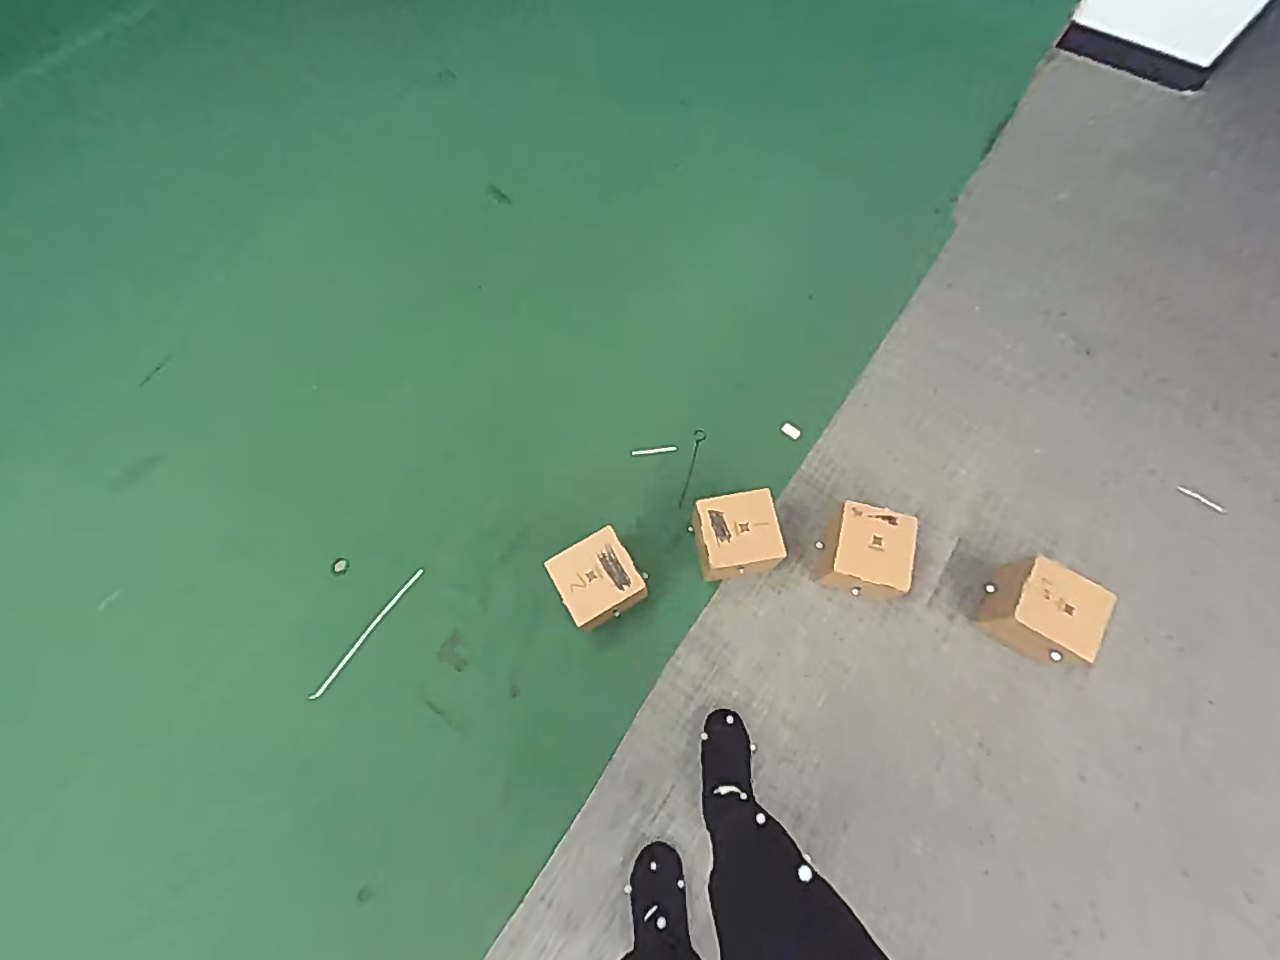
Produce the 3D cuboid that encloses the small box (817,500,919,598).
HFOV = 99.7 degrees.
[{"bbox_3d":[0.529,0.170,1.277,0.168,0.176,0.179,15,73,7],"label":"small box"}]

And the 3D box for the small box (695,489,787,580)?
[{"bbox_3d":[0.232,0.136,1.299,0.179,0.176,0.168,-9,71,-3],"label":"small box"}]

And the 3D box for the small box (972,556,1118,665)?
[{"bbox_3d":[0.903,0.295,1.219,0.179,0.176,0.168,31,74,11],"label":"small box"}]
